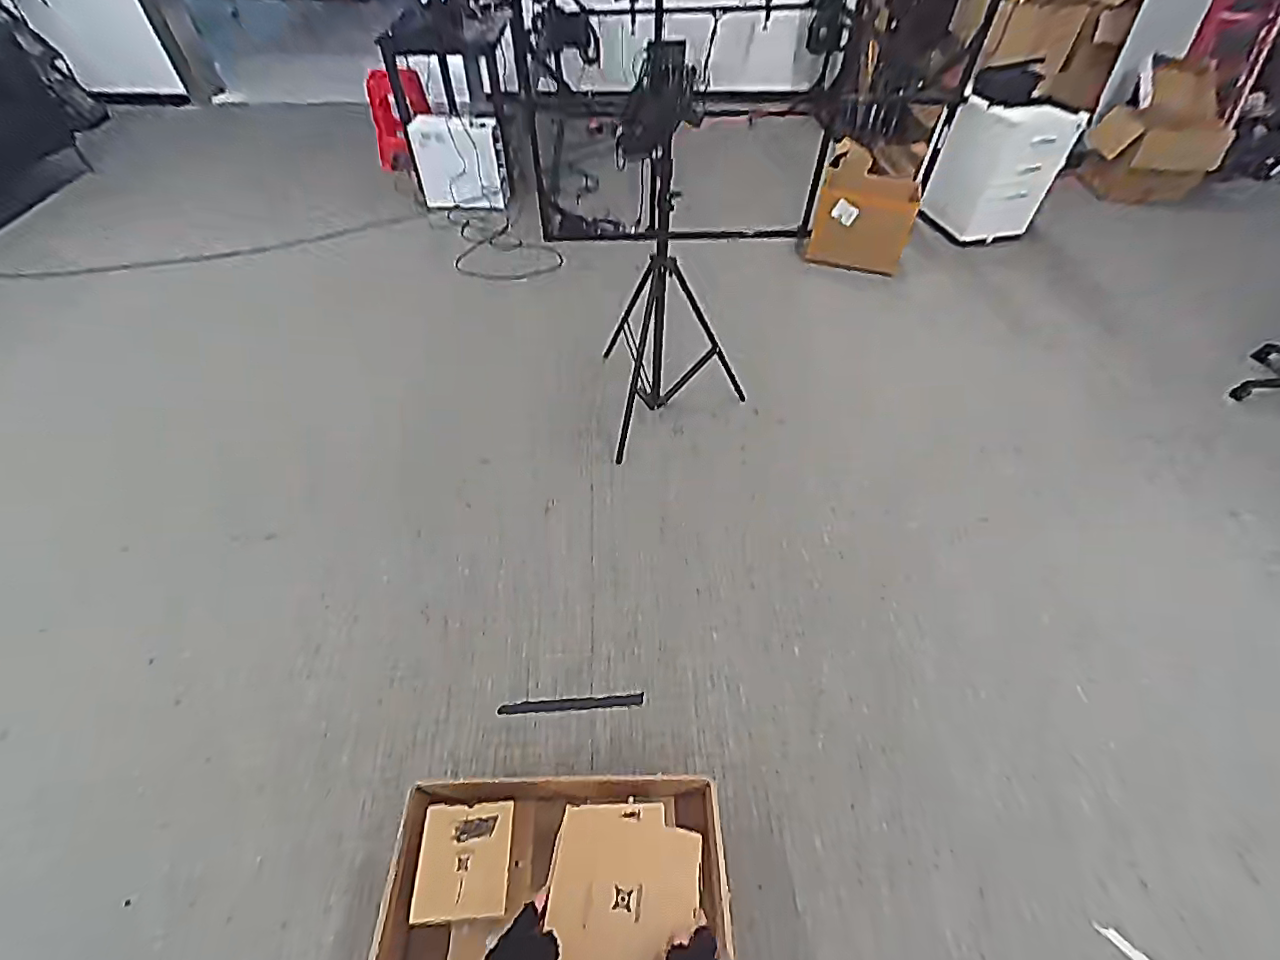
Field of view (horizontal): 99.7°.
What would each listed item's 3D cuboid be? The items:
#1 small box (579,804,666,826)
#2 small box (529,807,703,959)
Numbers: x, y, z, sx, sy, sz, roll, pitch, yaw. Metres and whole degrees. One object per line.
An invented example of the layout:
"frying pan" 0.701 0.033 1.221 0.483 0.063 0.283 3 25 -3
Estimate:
"small box" -0.032 0.737 1.041 0.168 0.176 0.179 -2 51 2
"small box" -0.031 0.528 0.652 0.179 0.176 0.168 13 39 -3
